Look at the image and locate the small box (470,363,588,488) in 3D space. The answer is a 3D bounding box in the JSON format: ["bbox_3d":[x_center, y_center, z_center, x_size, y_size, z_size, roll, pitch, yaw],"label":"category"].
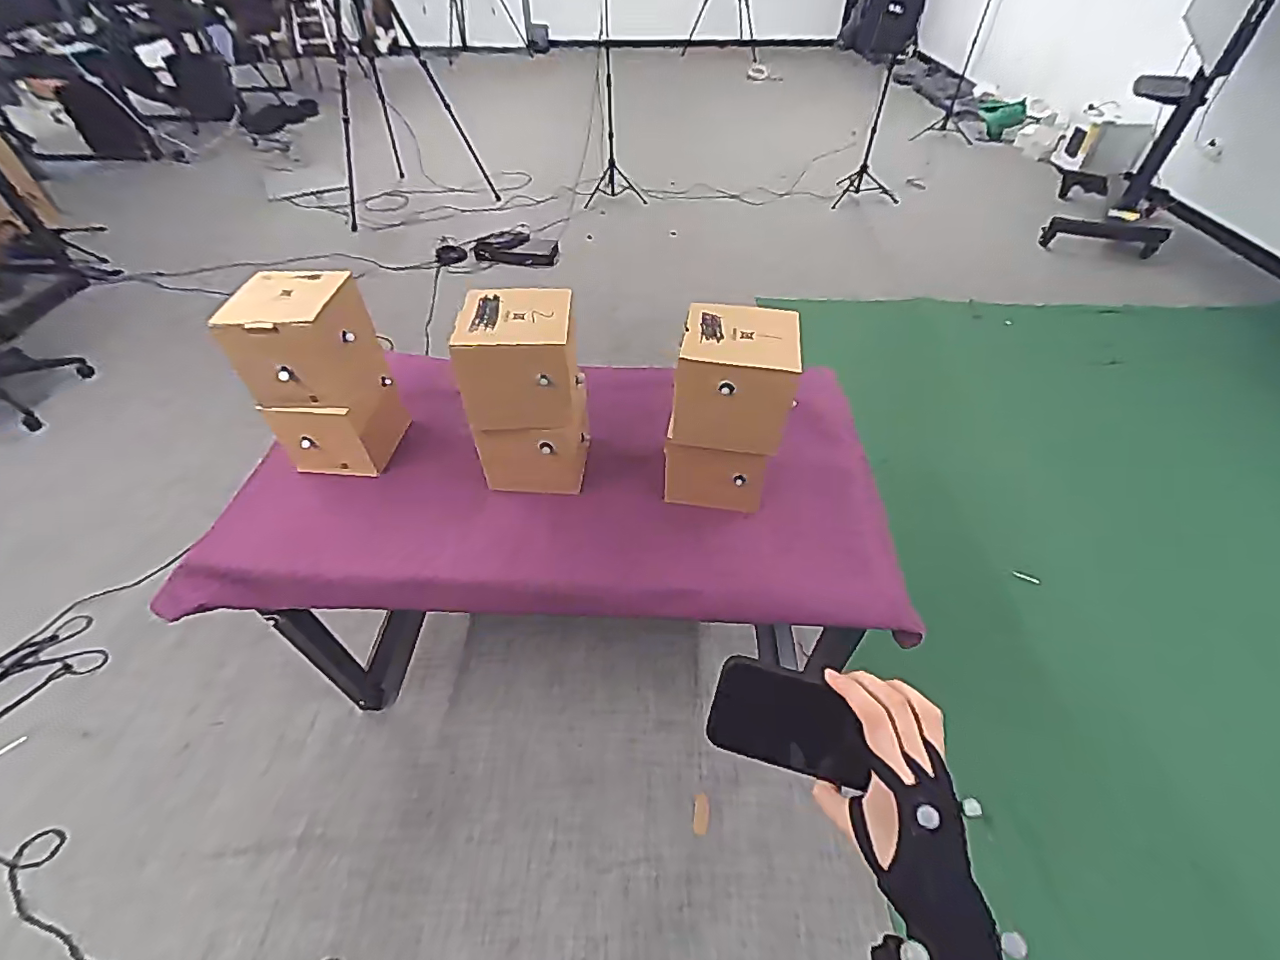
[{"bbox_3d":[-0.199,-0.100,1.028,0.179,0.176,0.168,4,48,3],"label":"small box"}]

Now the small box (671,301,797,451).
[{"bbox_3d":[0.147,-0.165,0.870,0.179,0.176,0.168,8,48,7],"label":"small box"}]

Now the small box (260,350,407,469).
[{"bbox_3d":[-0.586,-0.140,1.065,0.168,0.176,0.179,4,48,4],"label":"small box"}]

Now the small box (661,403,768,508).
[{"bbox_3d":[0.140,-0.067,1.001,0.179,0.176,0.168,8,48,8],"label":"small box"}]

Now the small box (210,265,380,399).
[{"bbox_3d":[-0.585,-0.257,0.950,0.168,0.176,0.179,1,48,0],"label":"small box"}]
